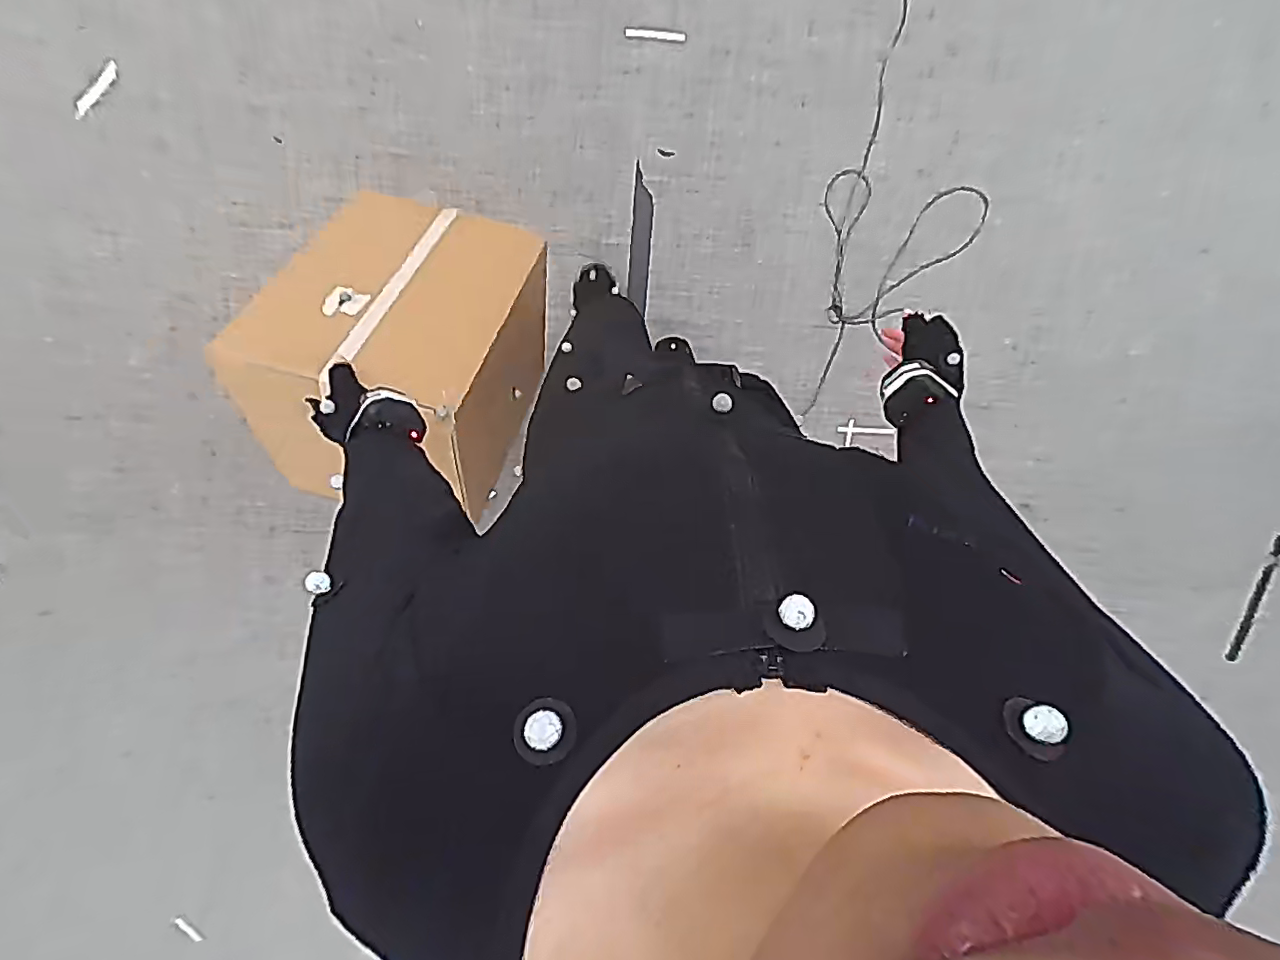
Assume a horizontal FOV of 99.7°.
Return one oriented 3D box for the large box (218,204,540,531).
[{"bbox_3d":[-0.374,-0.185,0.915,0.320,0.408,0.320,14,145,0],"label":"large box"}]
